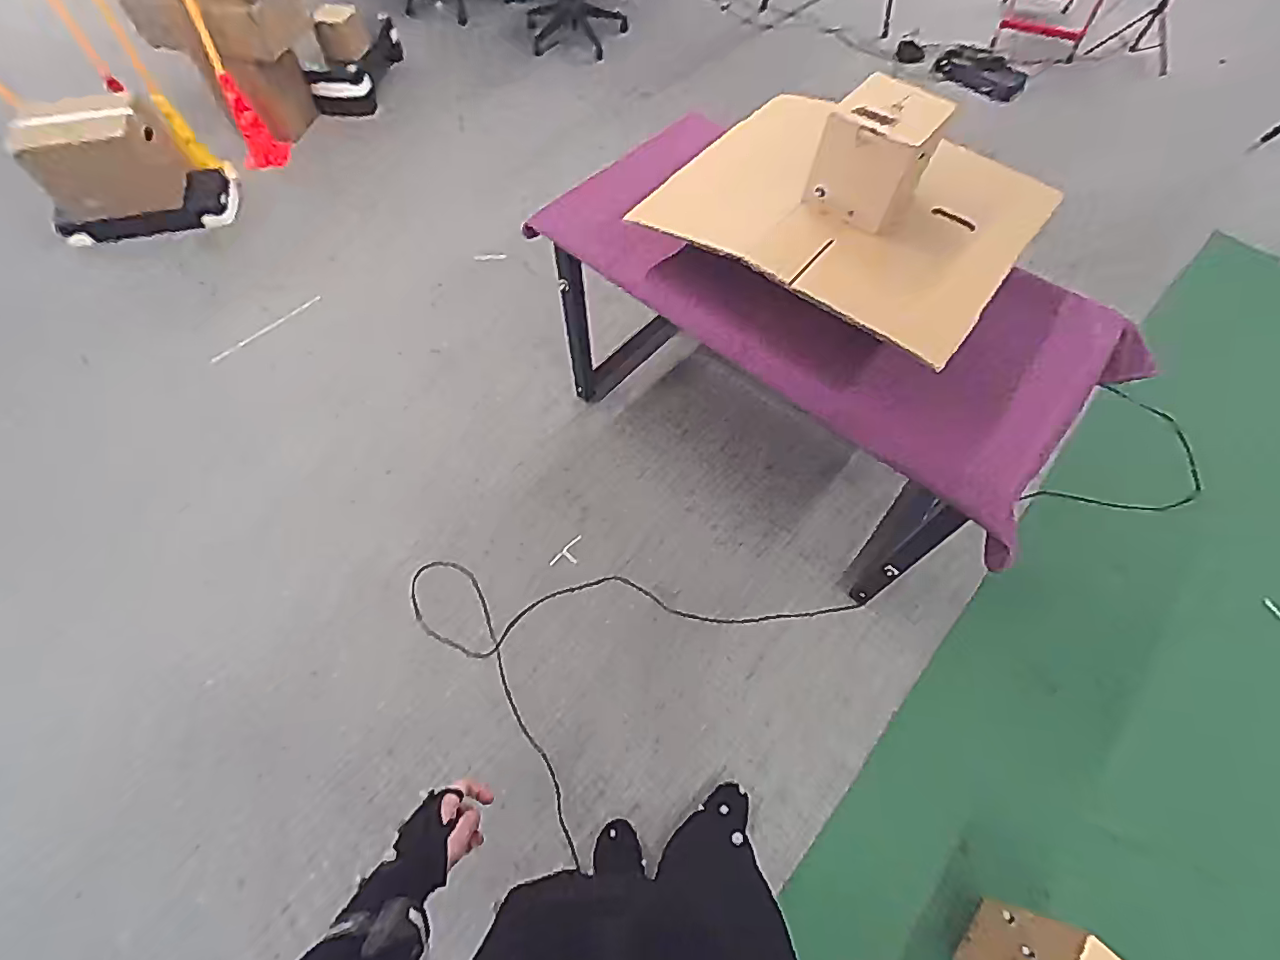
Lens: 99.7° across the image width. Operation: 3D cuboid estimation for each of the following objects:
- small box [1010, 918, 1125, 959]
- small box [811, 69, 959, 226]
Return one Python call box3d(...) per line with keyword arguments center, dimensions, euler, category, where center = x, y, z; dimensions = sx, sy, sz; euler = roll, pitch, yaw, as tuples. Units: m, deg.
box3d(center=(0.819, 0.955, 0.987), dimensions=(0.168, 0.176, 0.179), euler=(-40, 69, -21), category="small box")
box3d(center=(0.441, -0.612, 1.006), dimensions=(0.168, 0.176, 0.179), euler=(36, 66, 15), category="small box")
